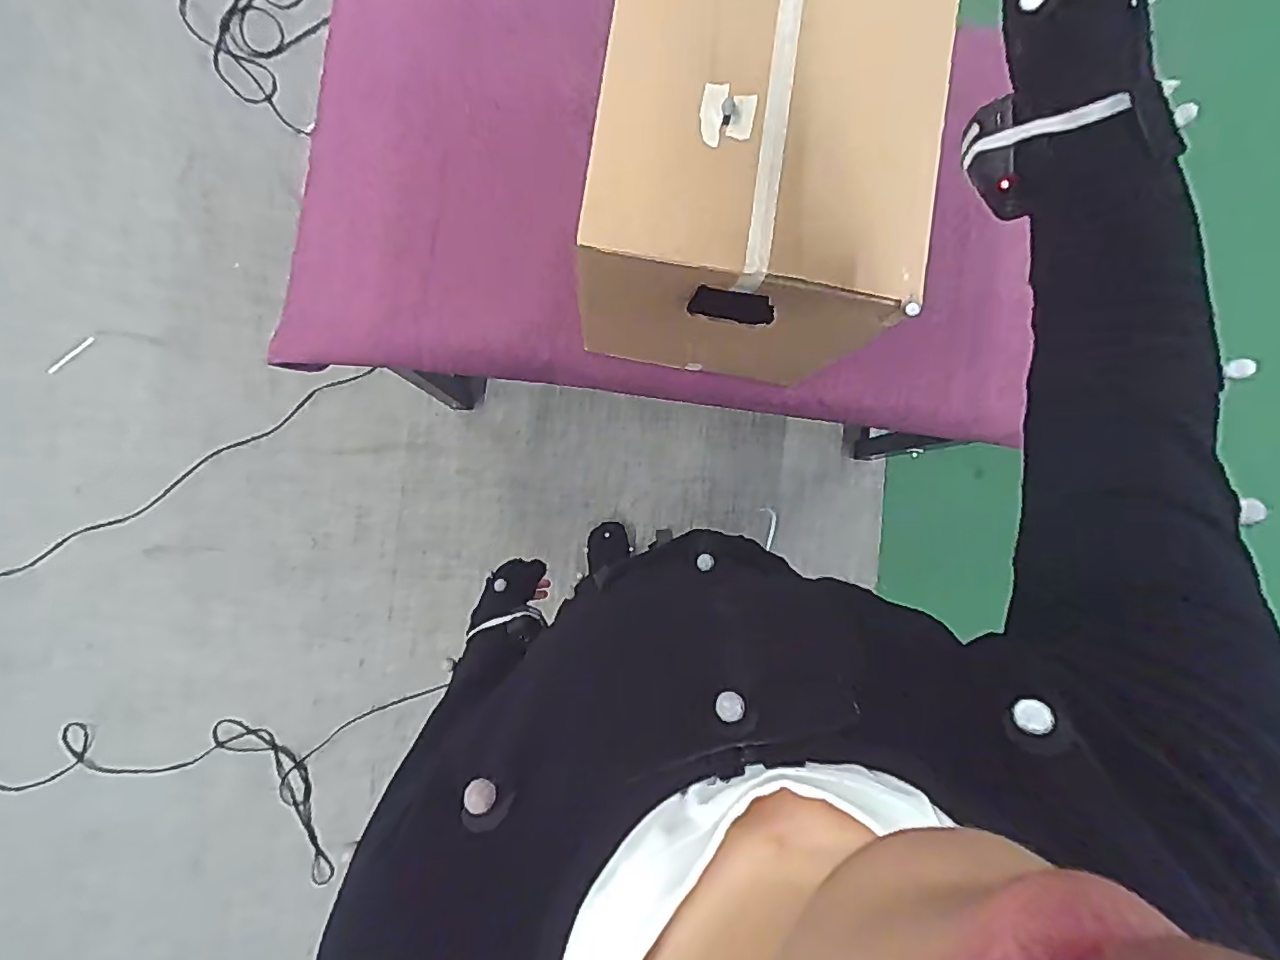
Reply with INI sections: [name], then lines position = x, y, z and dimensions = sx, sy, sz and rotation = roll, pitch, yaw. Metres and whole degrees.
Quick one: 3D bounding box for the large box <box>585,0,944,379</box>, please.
[large box]
position = 0.114, -0.372, 0.650
dimensions = 0.320, 0.320, 0.408
rotation = 9, 87, -4
